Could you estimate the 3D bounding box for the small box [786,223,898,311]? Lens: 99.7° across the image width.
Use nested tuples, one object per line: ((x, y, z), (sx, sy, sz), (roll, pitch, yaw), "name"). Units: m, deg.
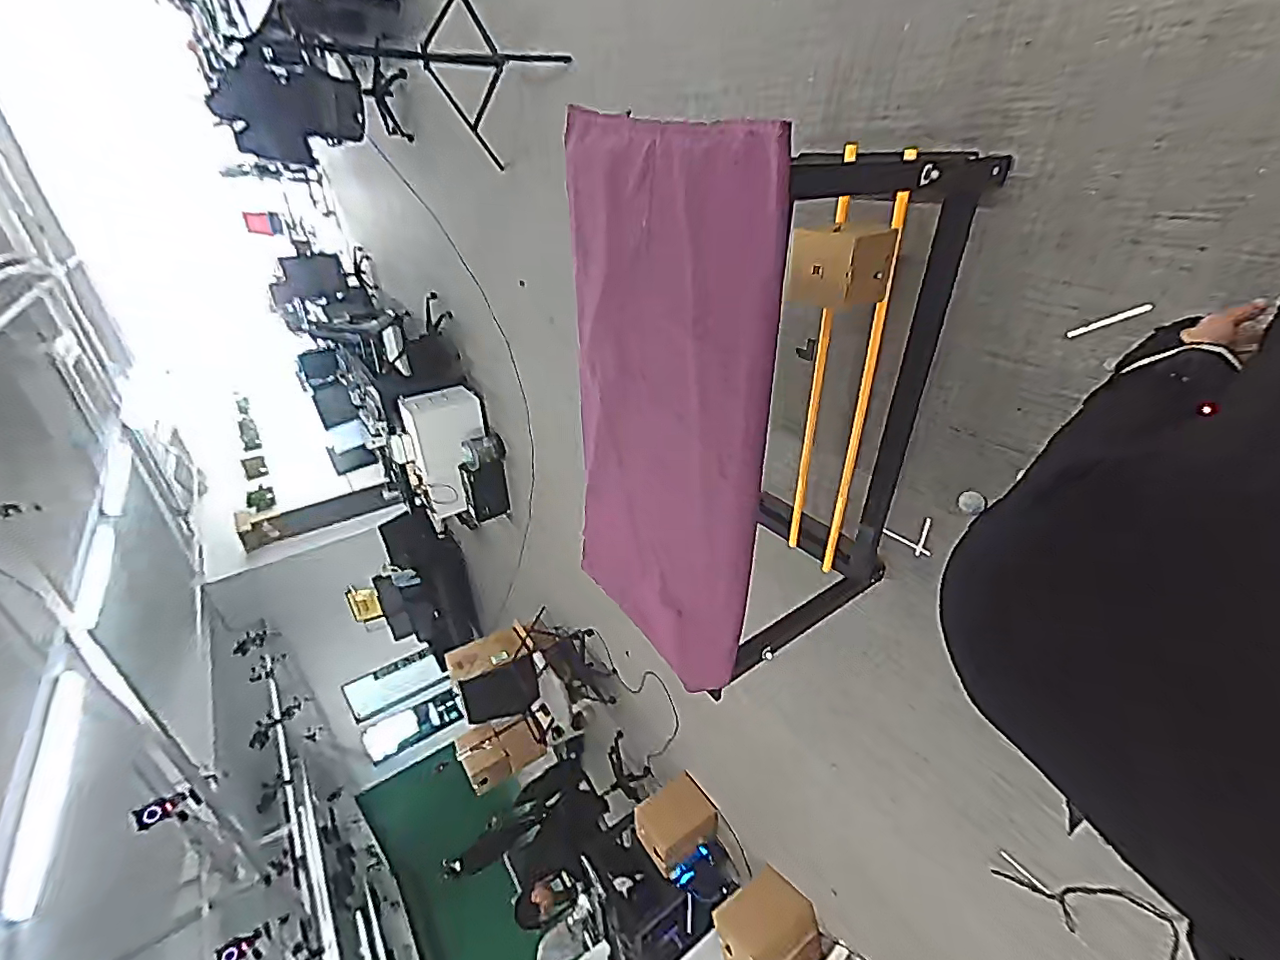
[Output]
((0.484, -0.520, 1.305), (0.179, 0.176, 0.168), (34, 137, 44), "small box")
